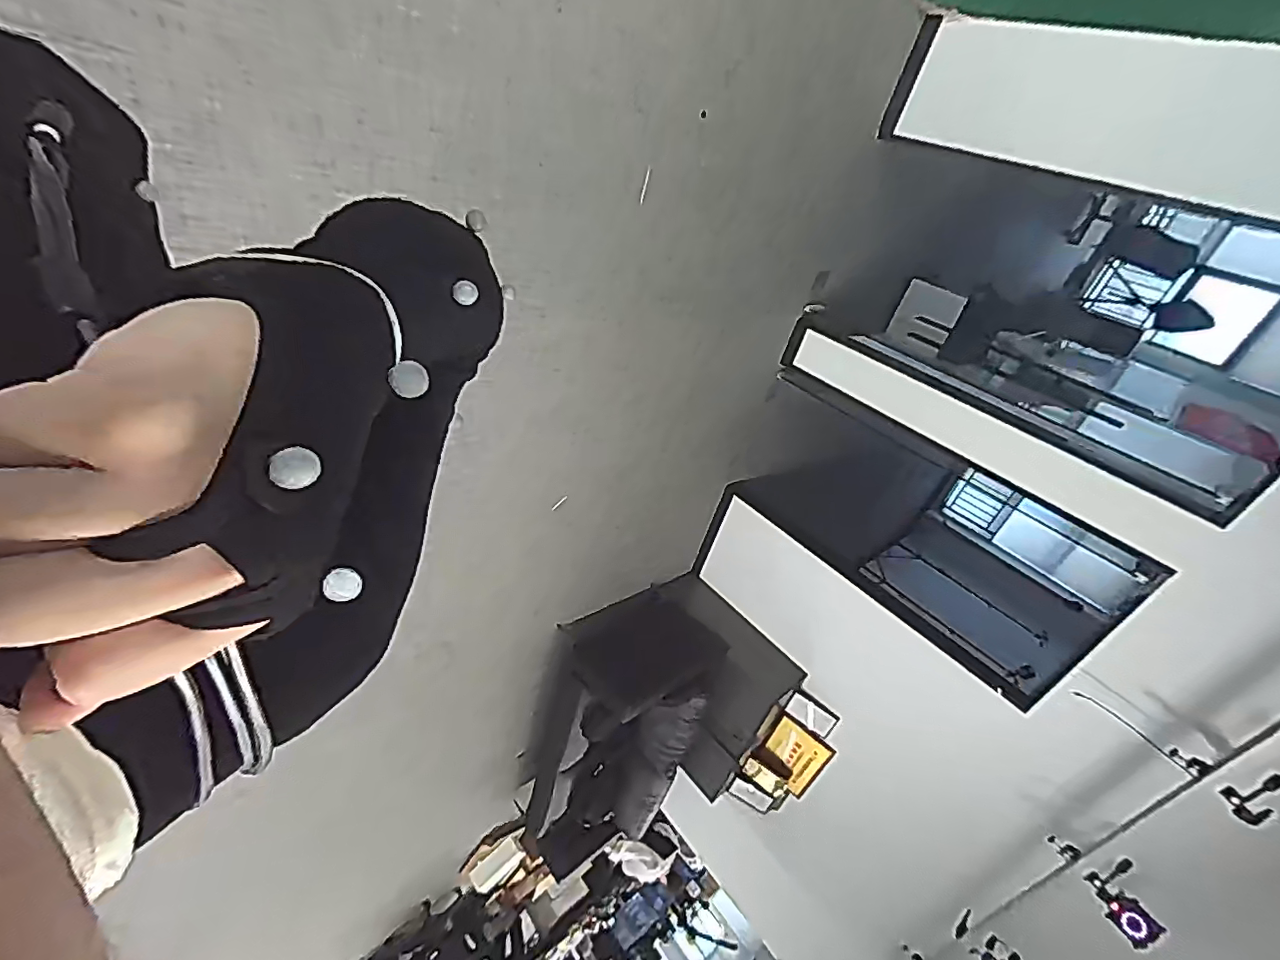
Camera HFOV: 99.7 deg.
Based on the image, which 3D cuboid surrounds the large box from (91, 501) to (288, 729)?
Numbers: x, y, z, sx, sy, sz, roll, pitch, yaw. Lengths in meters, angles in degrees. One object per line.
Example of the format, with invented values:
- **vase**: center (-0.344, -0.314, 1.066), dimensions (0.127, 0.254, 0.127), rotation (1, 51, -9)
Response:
- **large box**: center (-1.112, 0.314, 1.348), dimensions (0.320, 0.320, 0.408), rotation (-8, 129, -47)
